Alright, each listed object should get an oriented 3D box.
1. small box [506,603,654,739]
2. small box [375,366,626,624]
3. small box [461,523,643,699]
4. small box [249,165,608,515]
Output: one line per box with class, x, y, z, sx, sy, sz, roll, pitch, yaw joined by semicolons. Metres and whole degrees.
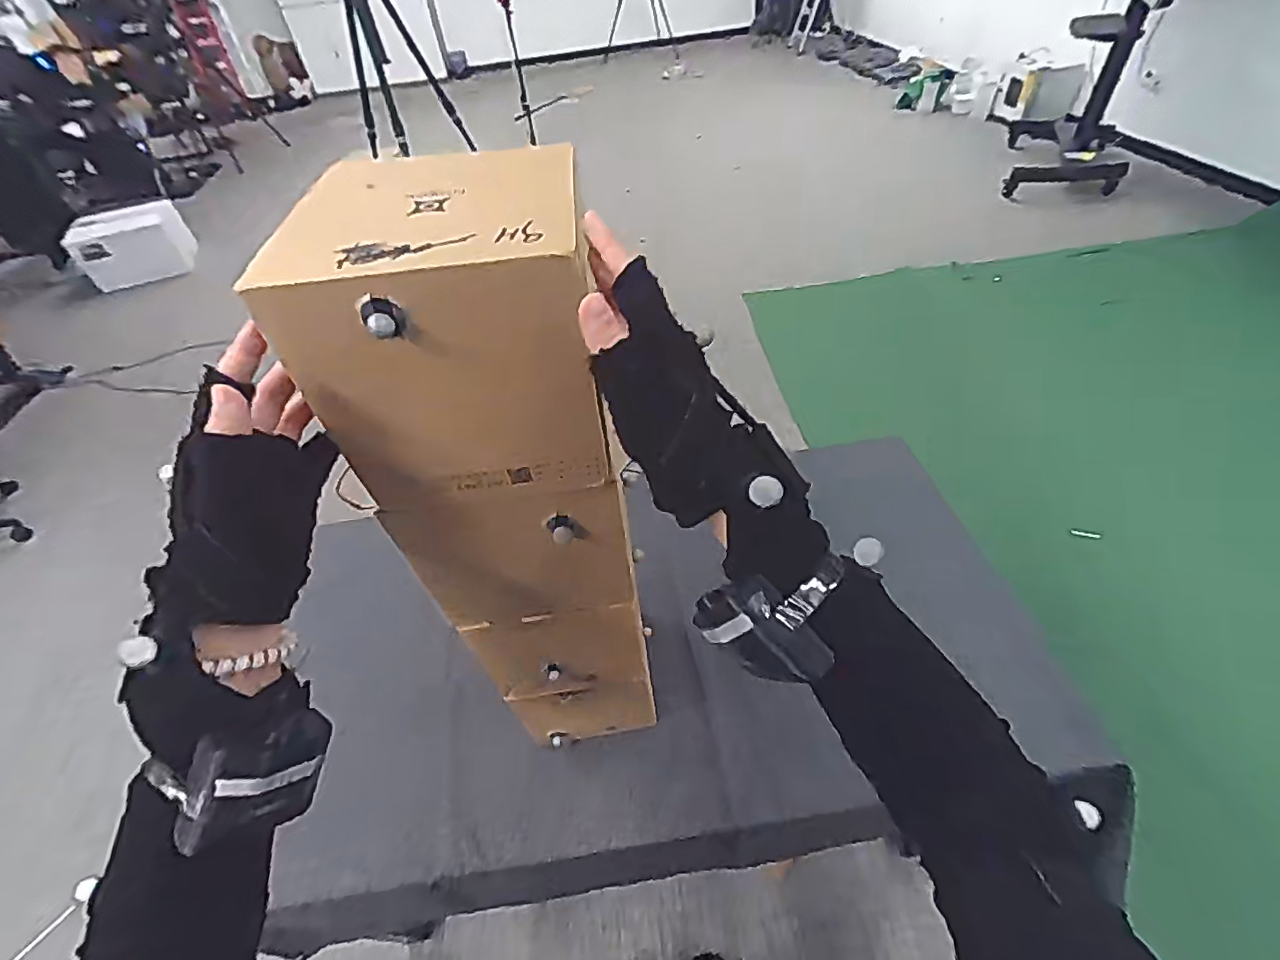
small box;-0.077;0.235;0.741;0.168;0.176;0.179;-9;45;-1
small box;-0.106;0.015;0.501;0.179;0.176;0.168;-7;46;0
small box;-0.092;0.125;0.623;0.168;0.176;0.179;-9;47;-1
small box;-0.115;-0.099;0.383;0.168;0.176;0.179;-7;46;0
